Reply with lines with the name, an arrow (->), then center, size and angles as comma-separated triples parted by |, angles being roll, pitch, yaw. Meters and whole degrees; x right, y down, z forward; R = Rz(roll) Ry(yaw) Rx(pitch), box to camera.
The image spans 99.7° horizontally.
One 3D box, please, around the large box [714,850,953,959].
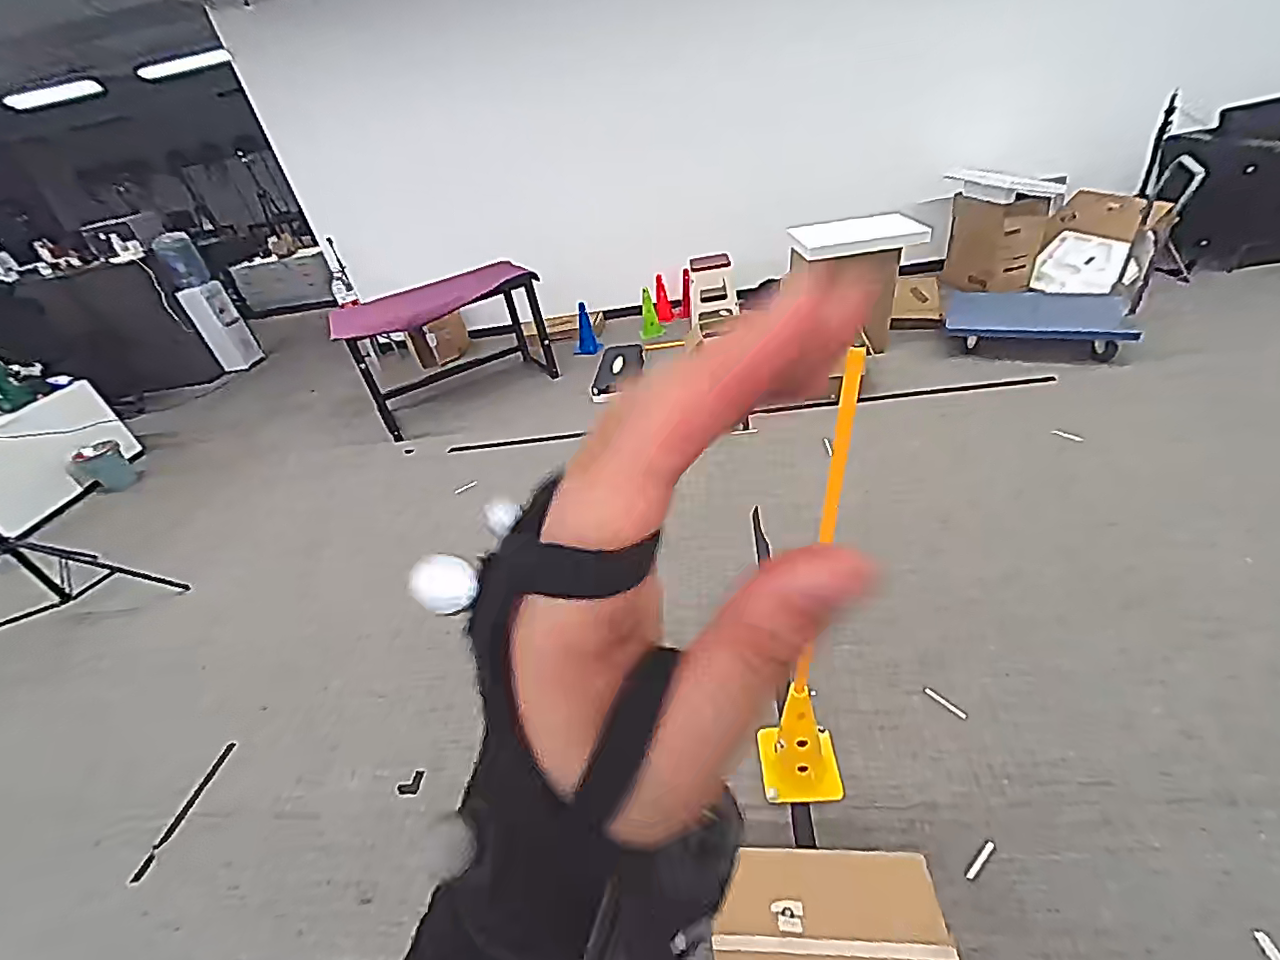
large box -> 0.363, 0.942, 1.027 | 0.408, 0.320, 0.320 | -6, 33, 10
